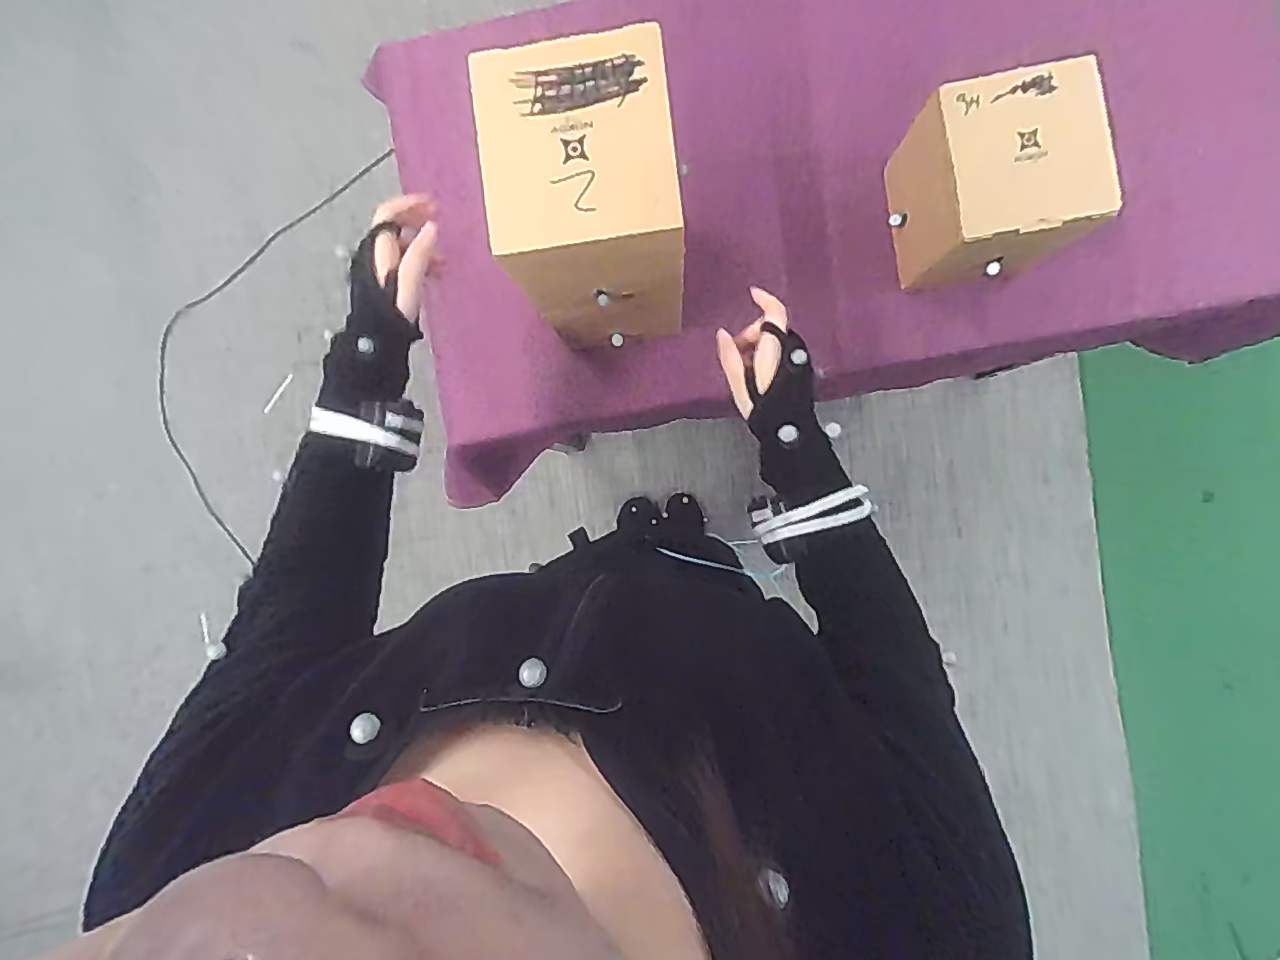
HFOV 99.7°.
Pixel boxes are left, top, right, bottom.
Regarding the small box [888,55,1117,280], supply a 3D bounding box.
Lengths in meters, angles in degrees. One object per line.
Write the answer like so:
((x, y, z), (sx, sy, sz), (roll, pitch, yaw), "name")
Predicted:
((0.426, -0.360, 0.663), (0.168, 0.176, 0.179), (-8, 91, 4), "small box")

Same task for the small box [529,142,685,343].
((-0.034, -0.291, 0.696), (0.168, 0.176, 0.179), (-7, 91, 4), "small box")
